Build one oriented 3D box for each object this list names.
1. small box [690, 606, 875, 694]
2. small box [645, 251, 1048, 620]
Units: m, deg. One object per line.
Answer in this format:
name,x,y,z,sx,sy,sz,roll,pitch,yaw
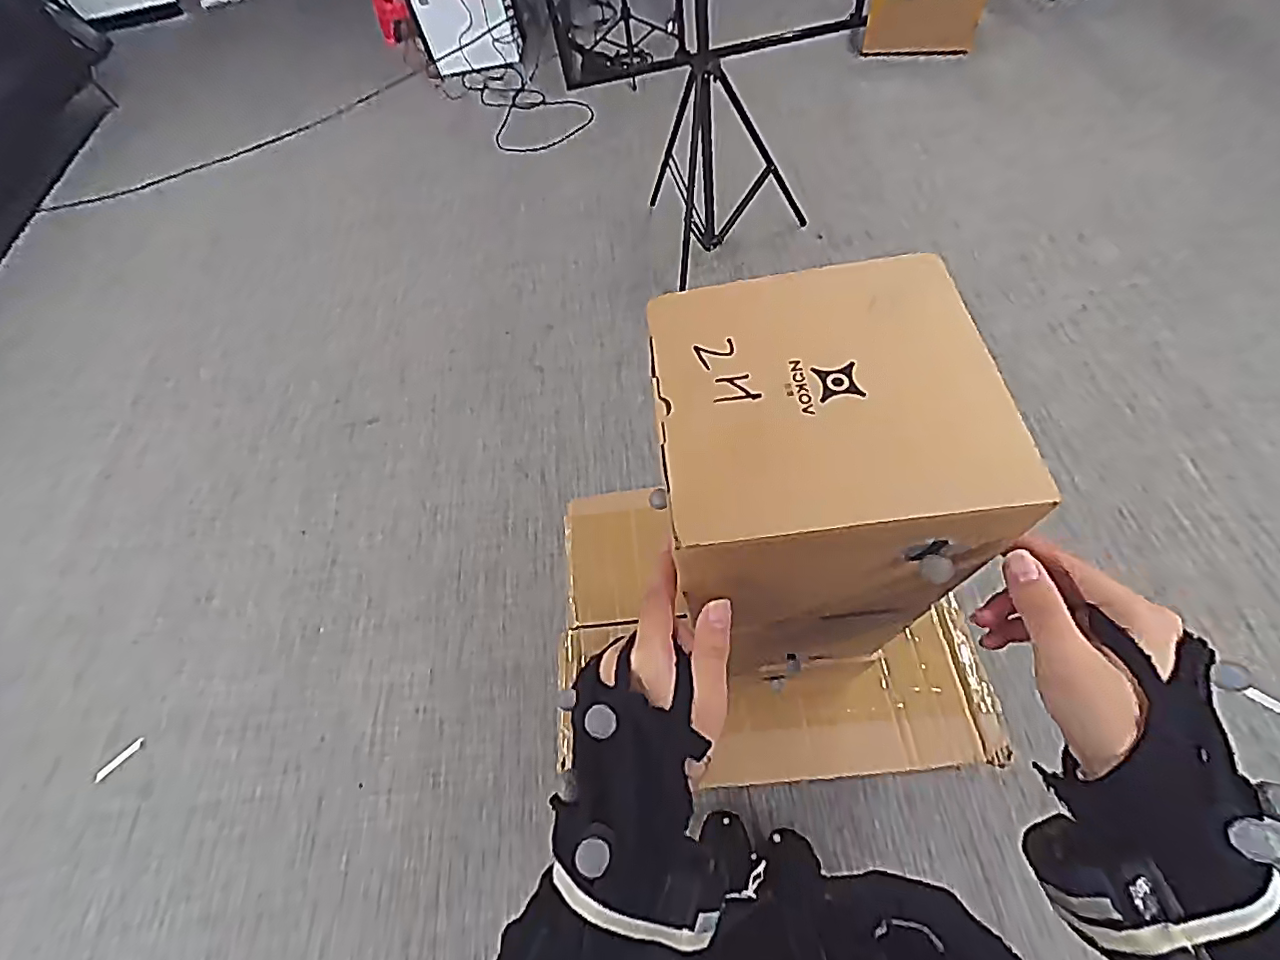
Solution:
small box,0.149,0.150,0.637,0.179,0.176,0.168,-7,61,5
small box,0.104,-0.014,0.355,0.179,0.176,0.168,-8,61,5
